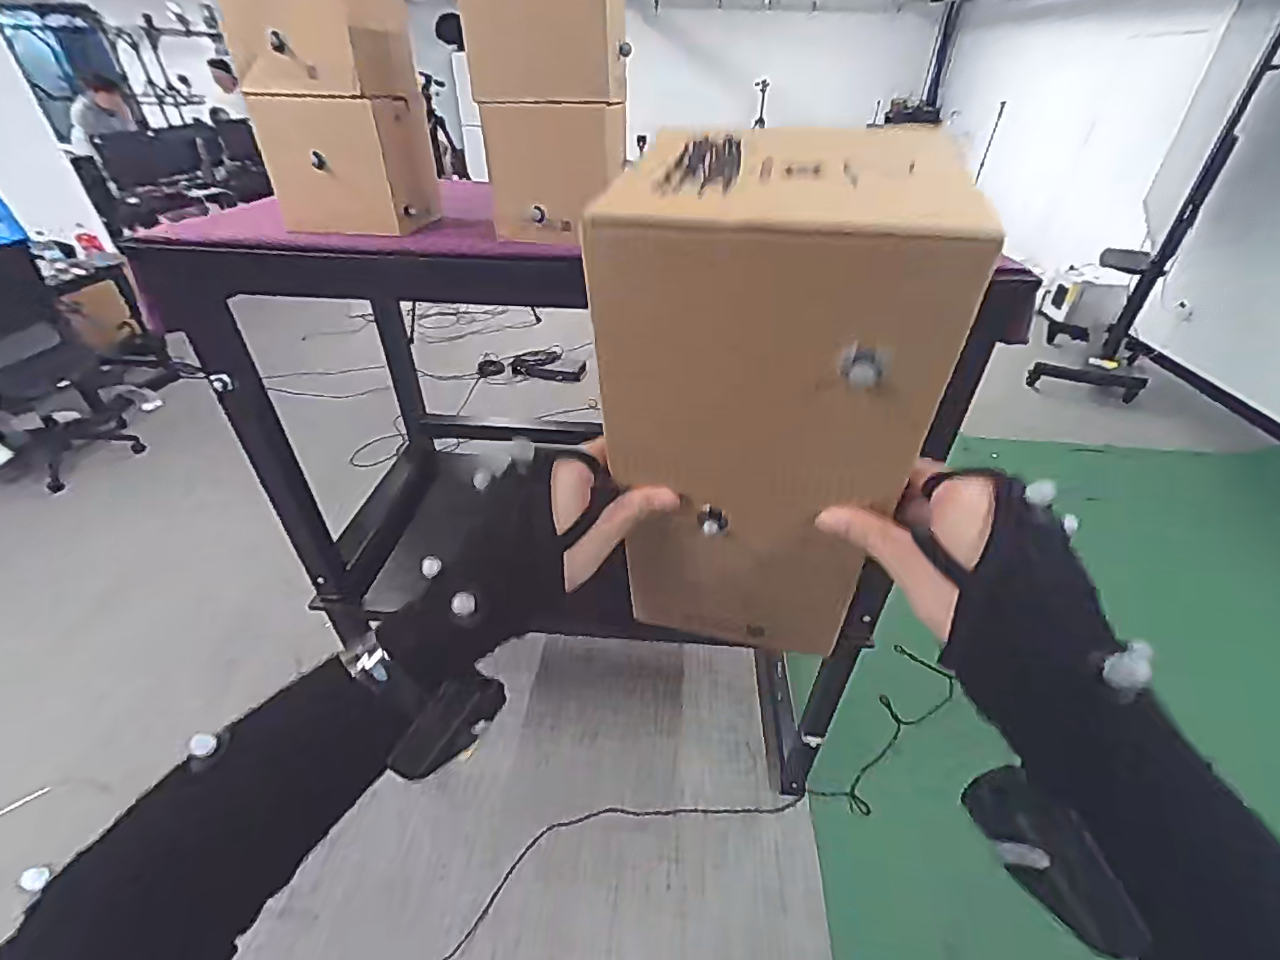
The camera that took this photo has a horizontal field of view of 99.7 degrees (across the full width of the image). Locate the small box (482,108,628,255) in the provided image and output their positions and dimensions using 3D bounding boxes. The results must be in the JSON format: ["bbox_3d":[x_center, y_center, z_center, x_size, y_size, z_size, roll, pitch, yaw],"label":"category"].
[{"bbox_3d":[-0.111,-0.438,0.786,0.168,0.176,0.179,4,36,6],"label":"small box"}]

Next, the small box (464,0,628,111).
[{"bbox_3d":[-0.114,-0.569,0.686,0.179,0.176,0.168,3,36,6],"label":"small box"}]

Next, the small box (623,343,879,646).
[{"bbox_3d":[0.091,0.007,0.453,0.168,0.176,0.179,8,44,13],"label":"small box"}]

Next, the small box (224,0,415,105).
[{"bbox_3d":[-0.419,-0.598,0.718,0.168,0.176,0.179,3,36,3],"label":"small box"}]

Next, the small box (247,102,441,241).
[{"bbox_3d":[-0.418,-0.460,0.805,0.179,0.176,0.168,3,36,4],"label":"small box"}]
